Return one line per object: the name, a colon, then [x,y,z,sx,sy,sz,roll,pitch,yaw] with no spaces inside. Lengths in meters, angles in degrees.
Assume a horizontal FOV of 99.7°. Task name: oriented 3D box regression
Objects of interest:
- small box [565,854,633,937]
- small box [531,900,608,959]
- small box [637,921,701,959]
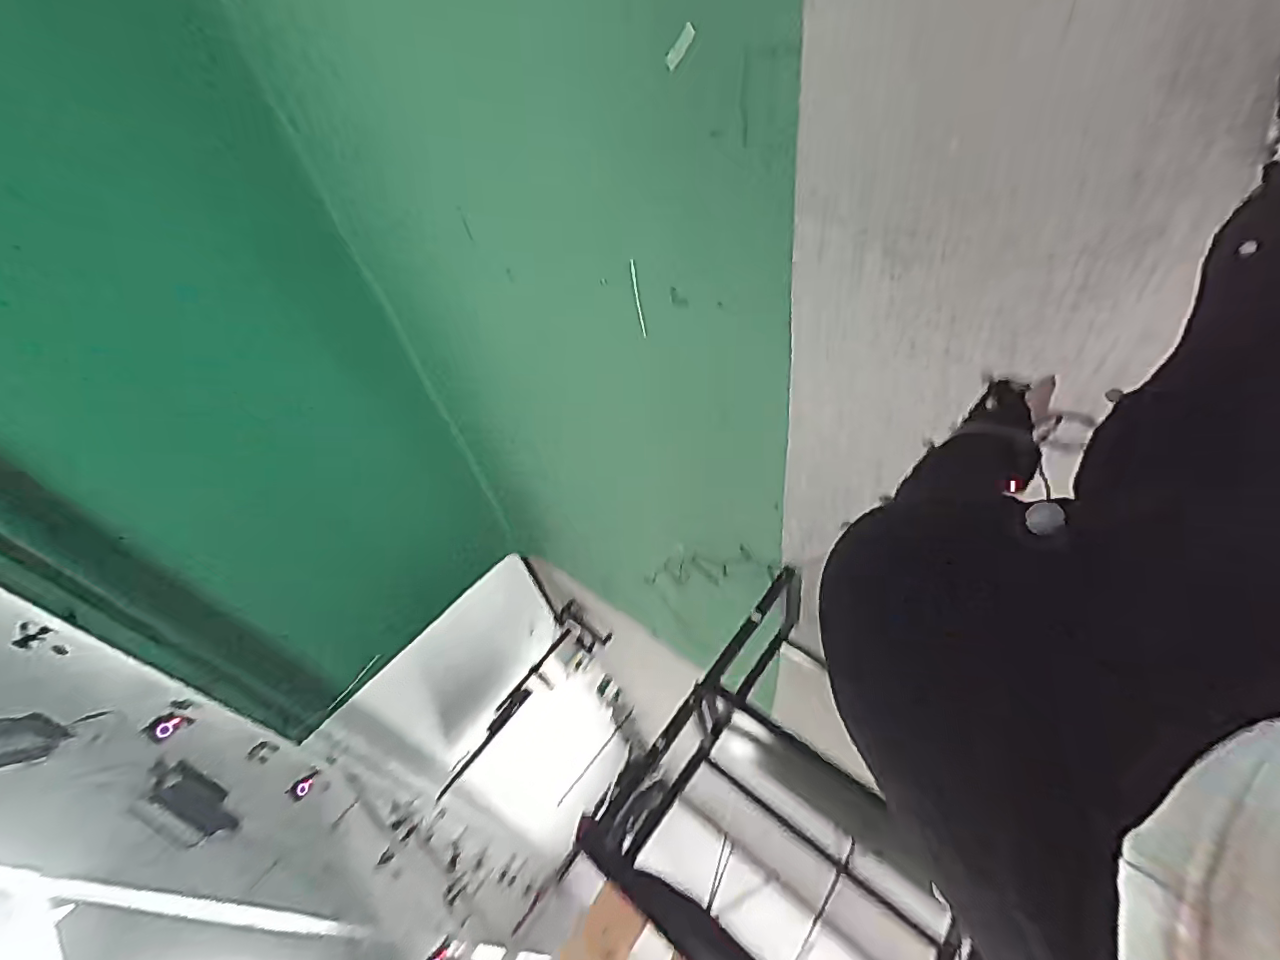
small box: [-0.139,1.495,1.952,0.179,0.176,0.168,28,150,28]
small box: [-0.240,1.601,1.877,0.179,0.176,0.168,23,147,33]
small box: [0.093,1.604,1.779,0.179,0.176,0.168,27,149,30]
